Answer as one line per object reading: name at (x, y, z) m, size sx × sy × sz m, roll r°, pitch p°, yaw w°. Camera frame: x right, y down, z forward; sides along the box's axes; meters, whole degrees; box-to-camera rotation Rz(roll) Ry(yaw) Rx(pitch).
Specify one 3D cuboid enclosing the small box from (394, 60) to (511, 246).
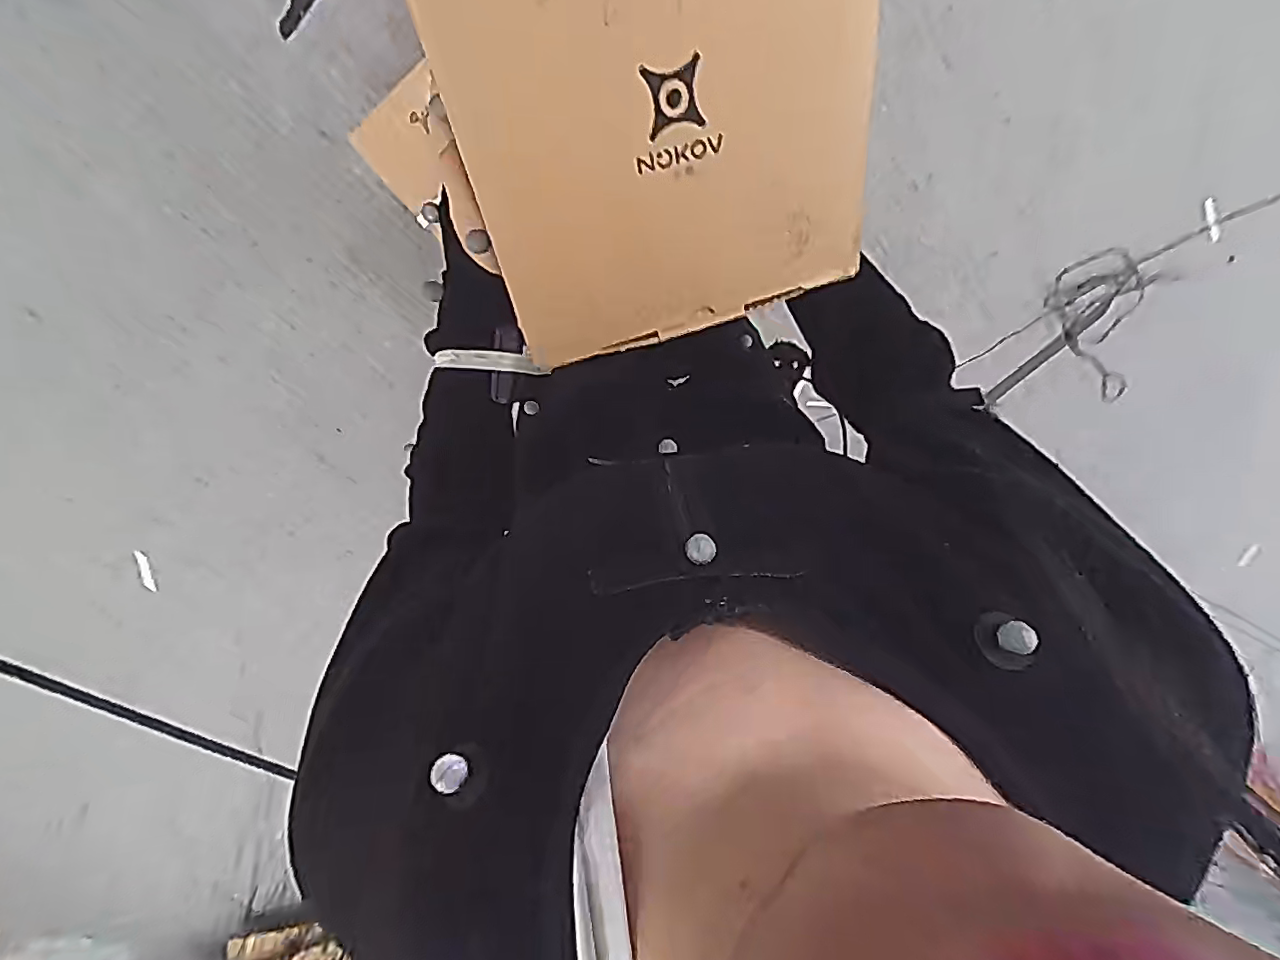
small box at (-0.181, -0.441, 0.710) m, size 0.168 × 0.176 × 0.179 m, roll -39°, pitch 119°, yaw 9°

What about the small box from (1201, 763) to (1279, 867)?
small box at (1.771, 0.946, 1.535) m, size 0.179 × 0.176 × 0.168 m, roll -40°, pitch 116°, yaw 11°
